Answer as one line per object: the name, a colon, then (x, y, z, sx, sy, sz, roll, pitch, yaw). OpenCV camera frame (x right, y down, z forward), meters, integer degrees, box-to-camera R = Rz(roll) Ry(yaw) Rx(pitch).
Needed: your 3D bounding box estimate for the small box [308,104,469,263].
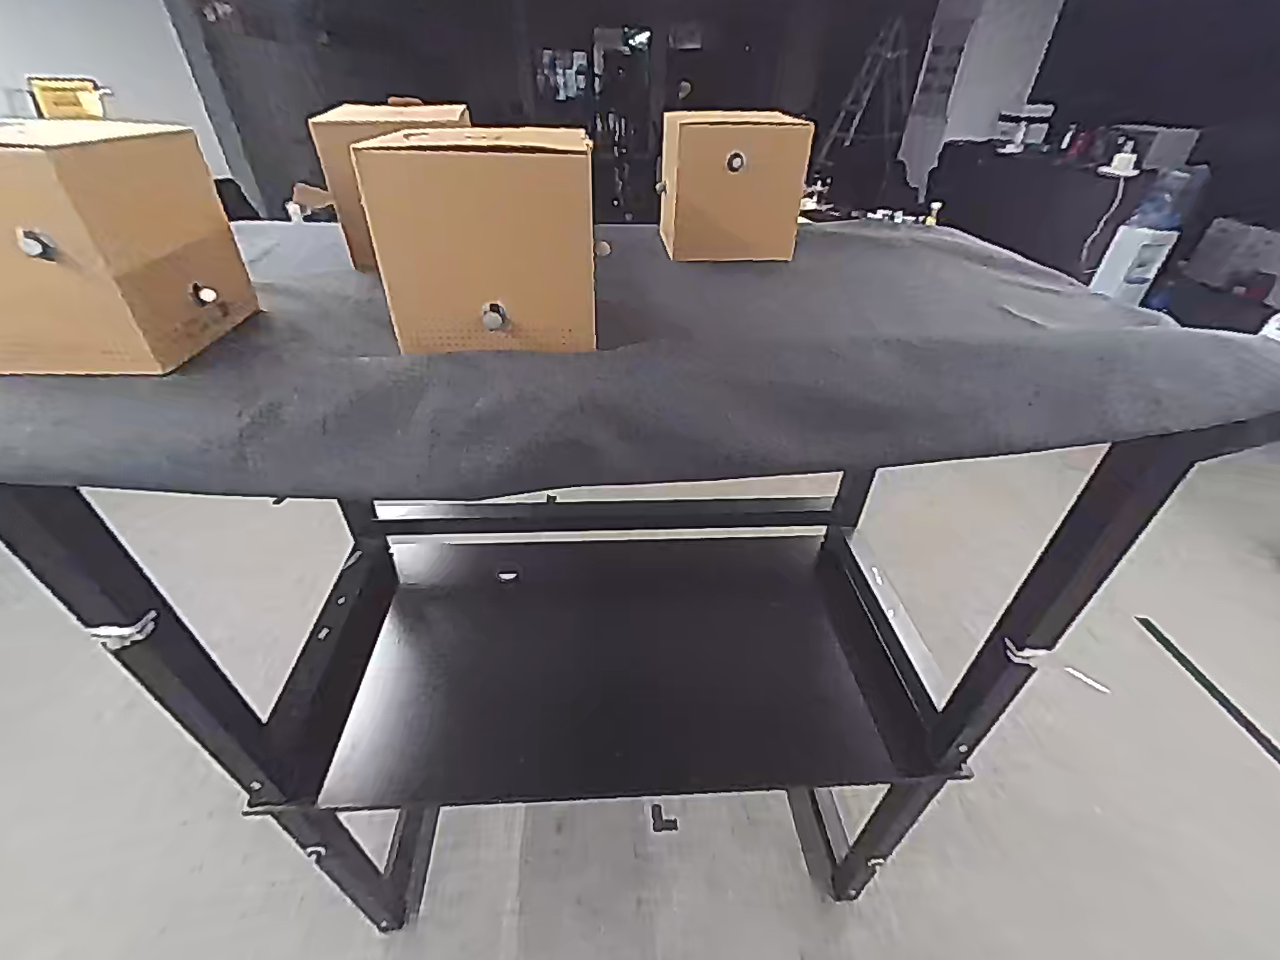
small box: (-0.308, -0.400, 0.728, 0.168, 0.176, 0.179, -7, 38, -8)

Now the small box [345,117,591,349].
small box: (-0.134, -0.228, 0.503, 0.179, 0.176, 0.168, -1, 36, -5)

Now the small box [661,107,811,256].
small box: (0.122, -0.427, 0.774, 0.179, 0.176, 0.168, -2, 38, -4)
